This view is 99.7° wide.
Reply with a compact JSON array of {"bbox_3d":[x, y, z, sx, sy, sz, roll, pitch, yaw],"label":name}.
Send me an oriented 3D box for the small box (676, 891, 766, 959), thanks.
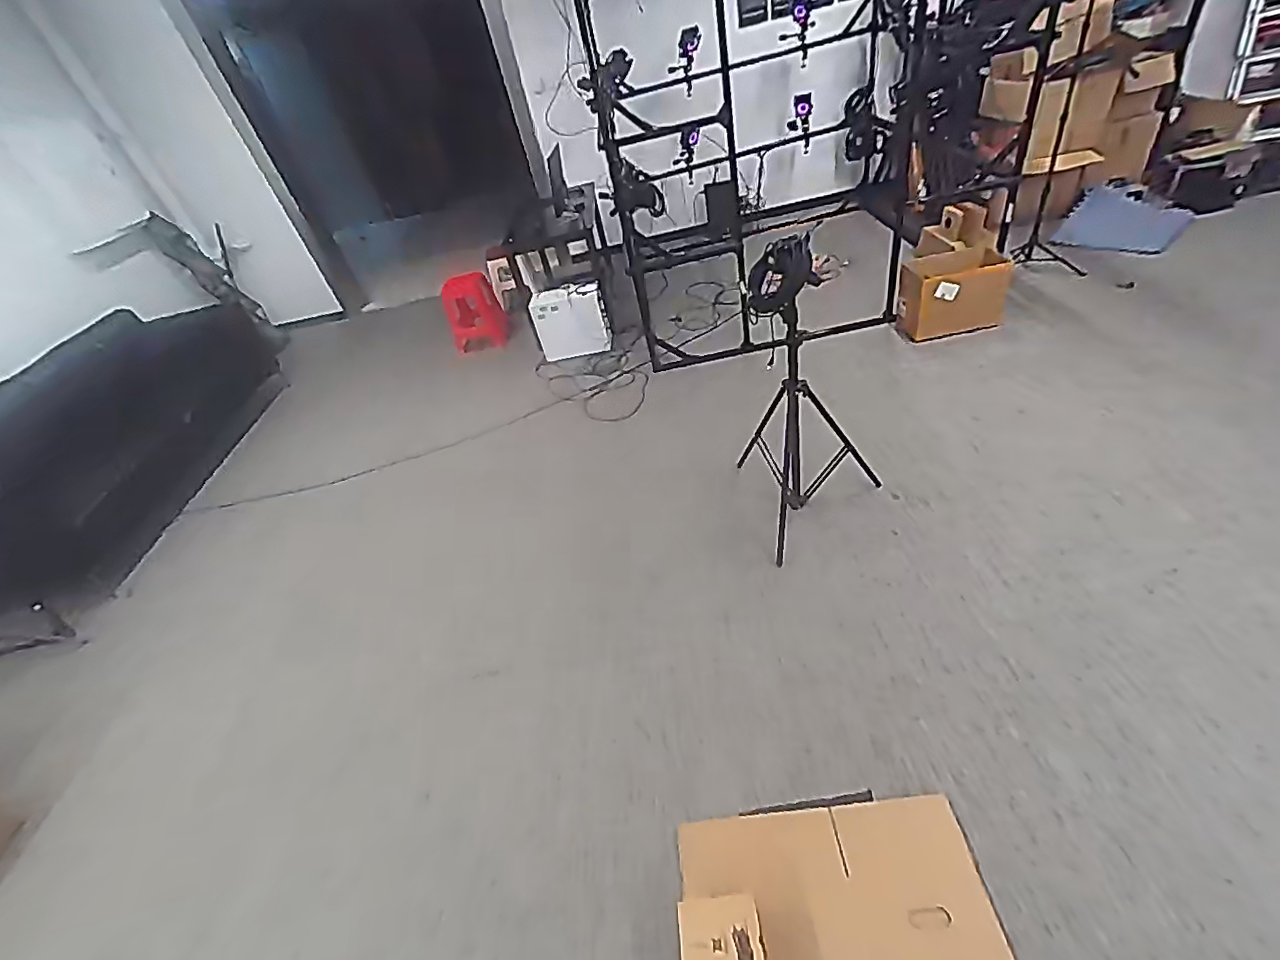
[{"bbox_3d":[0.182,1.025,1.185,0.179,0.176,0.168,-11,40,7],"label":"small box"}]
